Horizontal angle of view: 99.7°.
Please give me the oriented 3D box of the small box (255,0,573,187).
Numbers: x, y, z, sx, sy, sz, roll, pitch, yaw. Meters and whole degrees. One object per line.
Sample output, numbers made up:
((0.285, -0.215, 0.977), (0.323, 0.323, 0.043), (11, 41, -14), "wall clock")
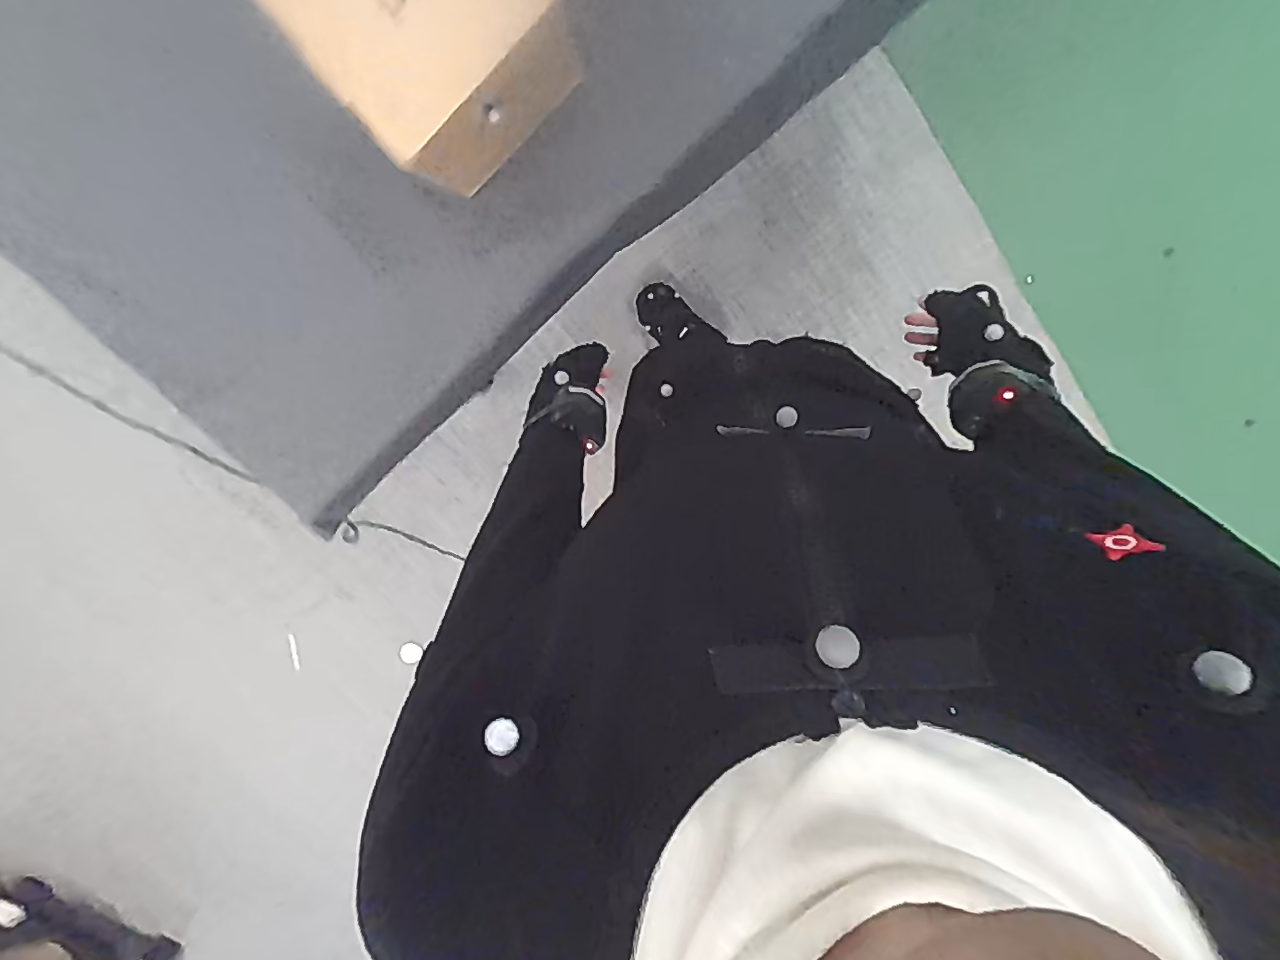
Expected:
((-0.178, -0.393, 0.475), (0.179, 0.176, 0.168), (-39, 106, 14), "small box")

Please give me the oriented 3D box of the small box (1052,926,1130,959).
((1.355, 1.445, 1.571), (0.168, 0.176, 0.179), (-35, 104, 14), "small box")
